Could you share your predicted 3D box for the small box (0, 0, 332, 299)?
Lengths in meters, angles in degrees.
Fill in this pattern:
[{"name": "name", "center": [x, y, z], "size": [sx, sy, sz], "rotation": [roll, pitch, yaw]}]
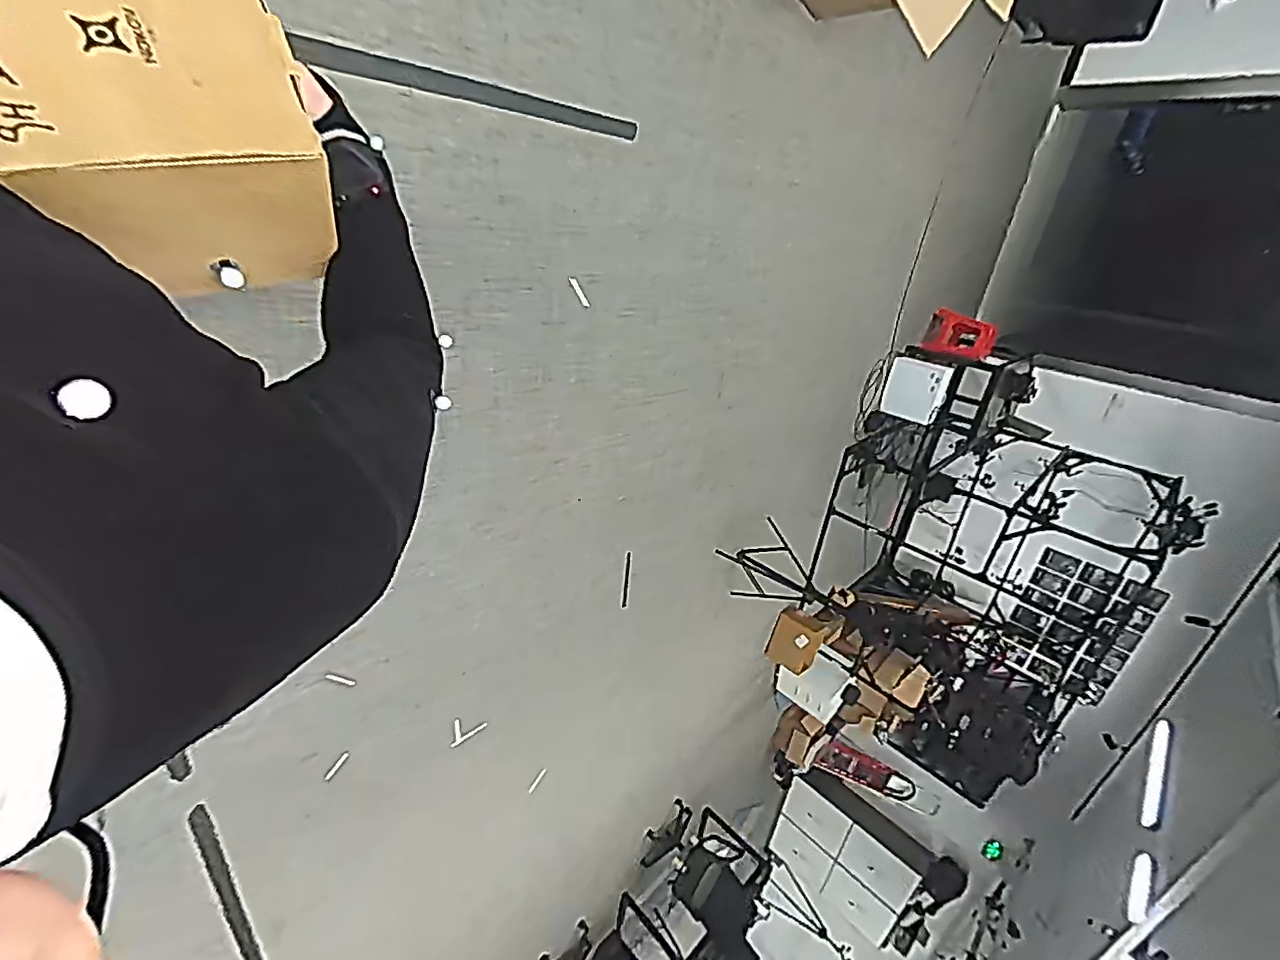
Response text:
[{"name": "small box", "center": [-0.360, -0.262, 0.419], "size": [0.179, 0.176, 0.168], "rotation": [-22, 90, -28]}]
